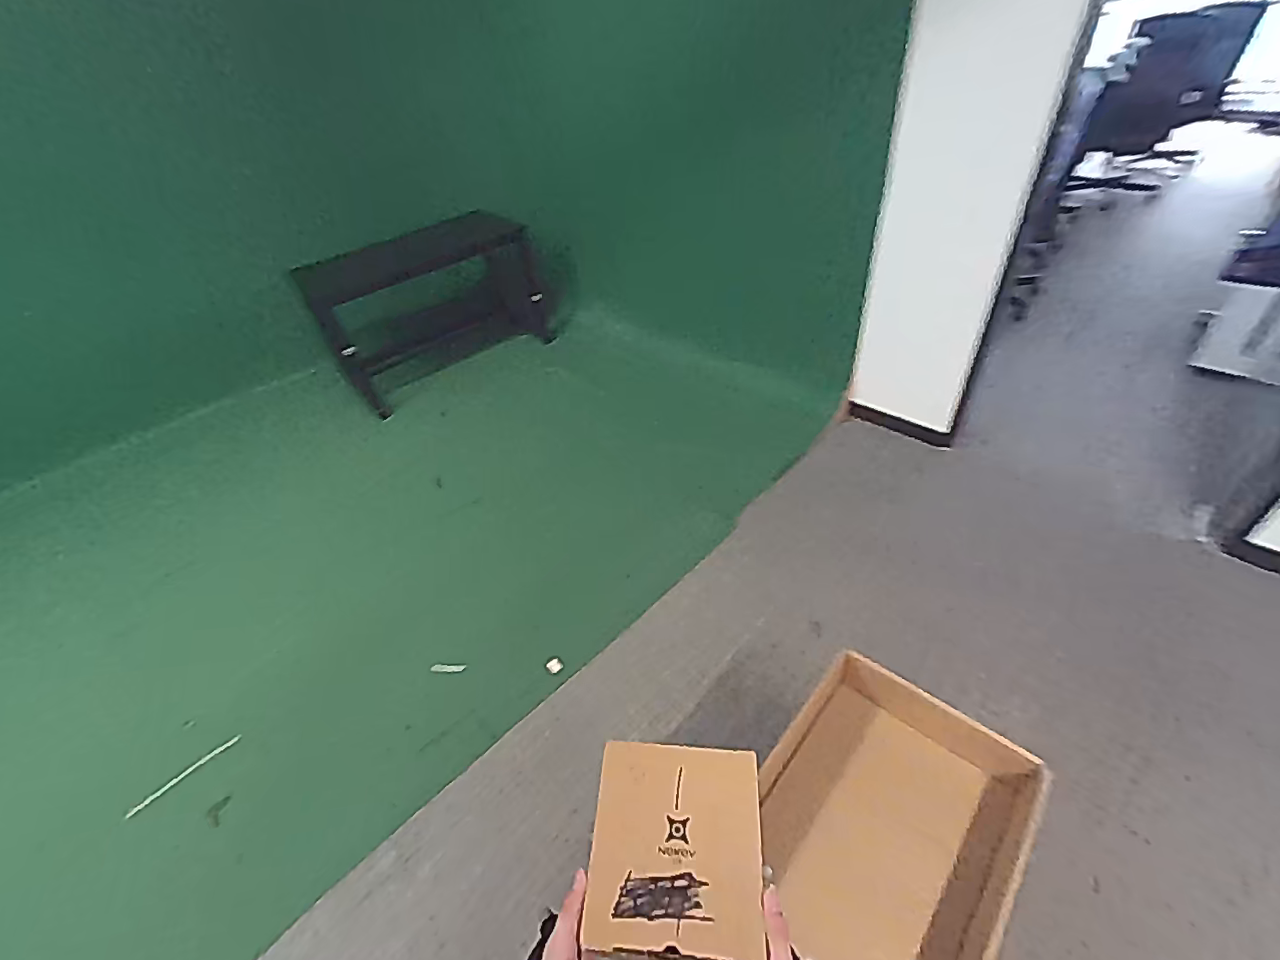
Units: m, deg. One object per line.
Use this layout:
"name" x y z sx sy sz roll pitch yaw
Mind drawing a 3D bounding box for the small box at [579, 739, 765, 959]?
"small box" 0.037 0.401 0.580 0.168 0.176 0.179 1 46 4
